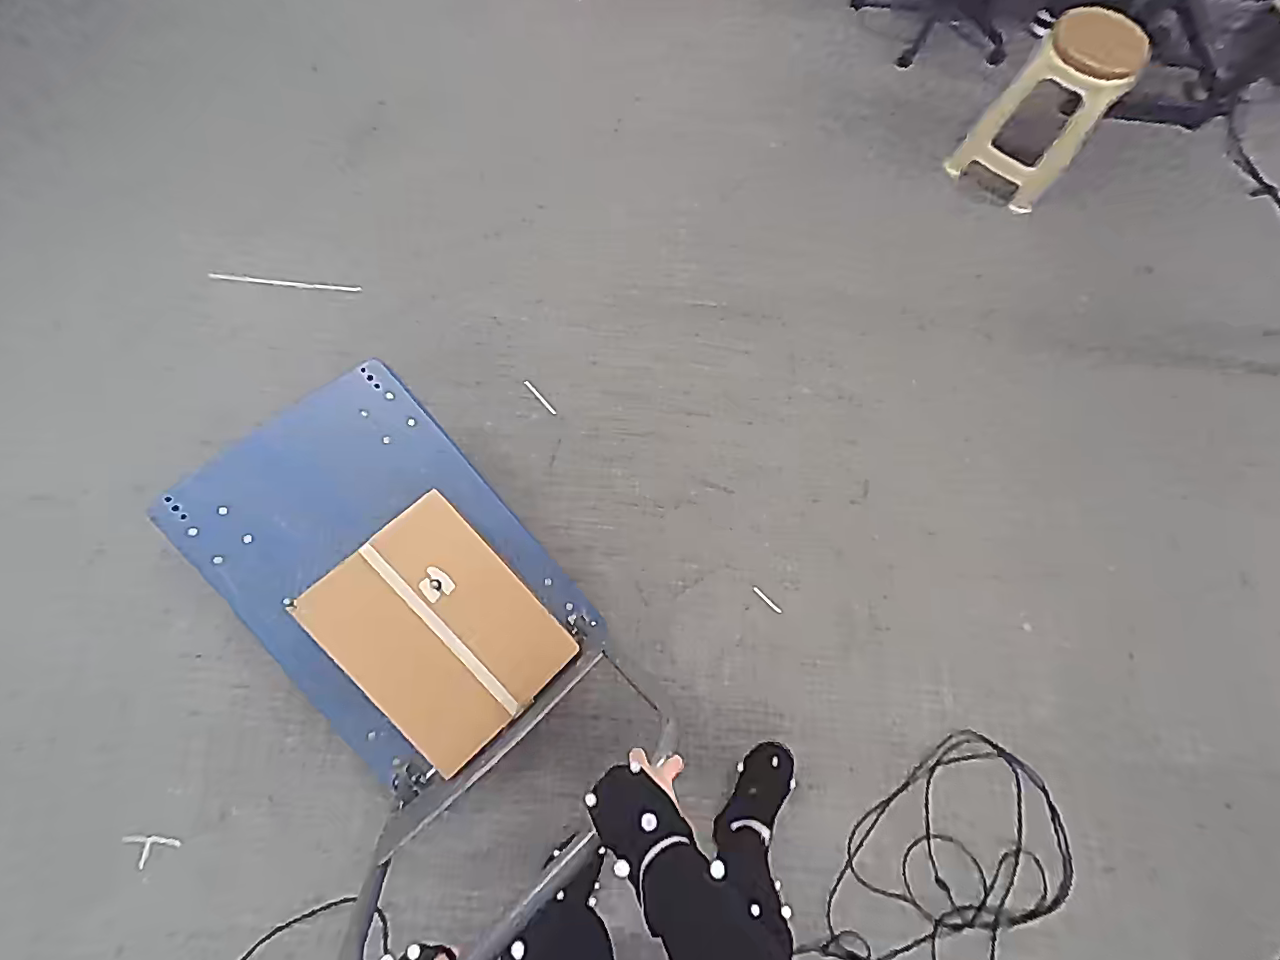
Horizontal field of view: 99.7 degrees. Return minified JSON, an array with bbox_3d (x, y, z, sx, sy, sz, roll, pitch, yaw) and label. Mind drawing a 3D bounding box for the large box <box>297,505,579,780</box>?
[{"bbox_3d":[-0.382,0.310,1.120,0.320,0.320,0.408,-43,92,-16],"label":"large box"}]
